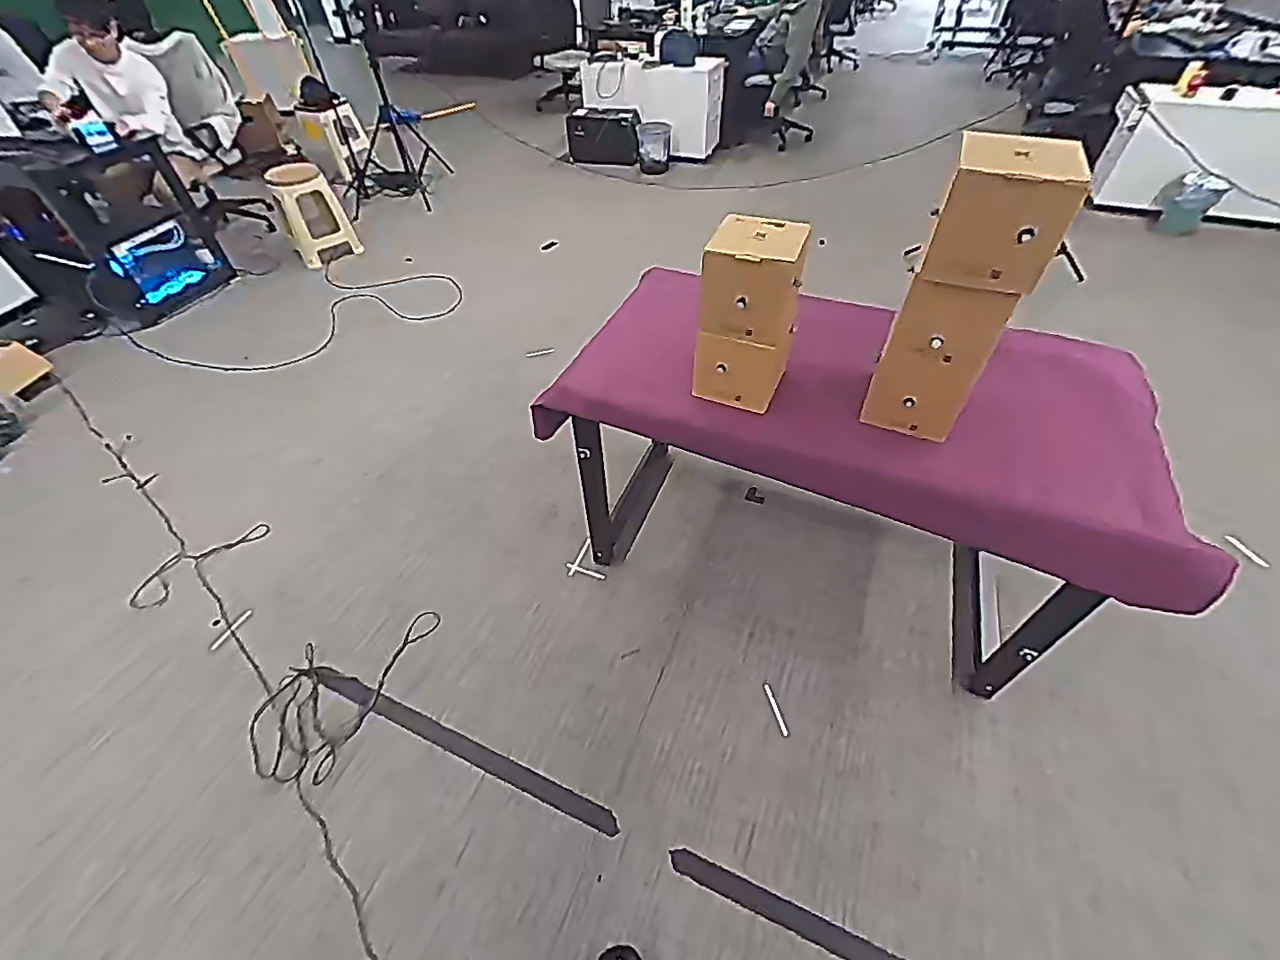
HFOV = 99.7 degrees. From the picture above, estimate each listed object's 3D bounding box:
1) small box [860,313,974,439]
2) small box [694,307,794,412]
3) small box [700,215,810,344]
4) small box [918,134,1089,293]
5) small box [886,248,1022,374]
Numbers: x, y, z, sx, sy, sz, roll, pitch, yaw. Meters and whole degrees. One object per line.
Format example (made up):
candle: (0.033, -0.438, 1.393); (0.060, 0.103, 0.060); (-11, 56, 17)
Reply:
small box: (0.564, -0.210, 1.100); (0.168, 0.176, 0.179); (19, 51, 18)
small box: (0.221, -0.273, 1.170); (0.168, 0.176, 0.179); (17, 49, 17)
small box: (0.218, -0.390, 1.054); (0.168, 0.176, 0.179); (16, 50, 15)
small box: (0.553, -0.416, 0.846); (0.168, 0.176, 0.179); (17, 50, 15)
small box: (0.564, -0.322, 0.980); (0.168, 0.176, 0.179); (18, 51, 18)
